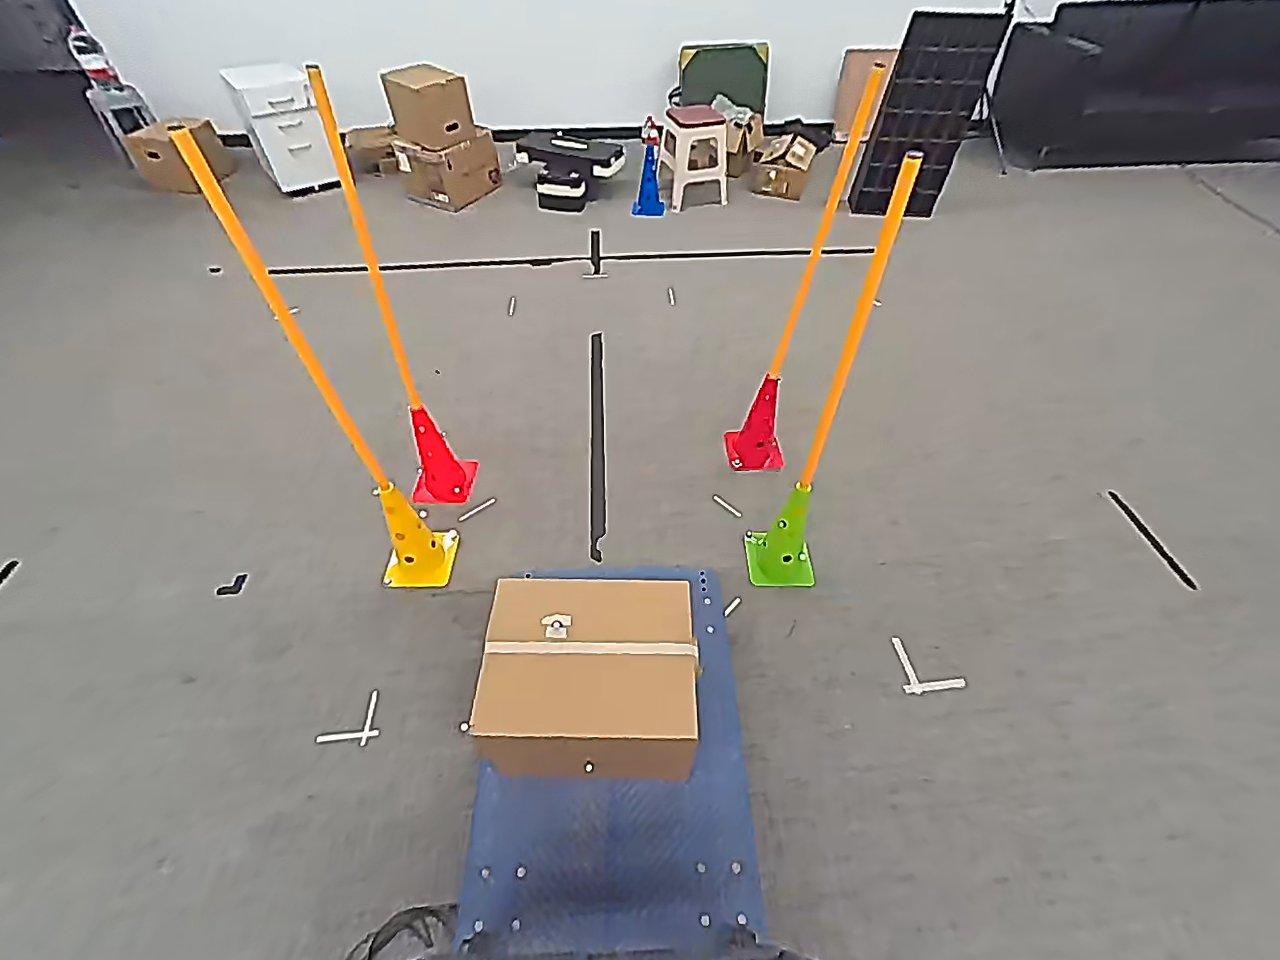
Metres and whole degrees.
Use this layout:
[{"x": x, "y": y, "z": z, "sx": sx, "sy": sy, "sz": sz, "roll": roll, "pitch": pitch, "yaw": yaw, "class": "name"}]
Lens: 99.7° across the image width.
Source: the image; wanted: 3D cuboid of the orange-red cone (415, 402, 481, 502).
[{"x": -0.684, "y": -0.116, "z": 1.816, "sx": 0.198, "sy": 0.360, "sz": 0.199, "roll": 4, "pitch": 48, "yaw": 2, "class": "orange-red cone"}]

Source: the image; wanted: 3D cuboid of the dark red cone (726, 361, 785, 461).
[{"x": 0.438, "y": -0.248, "z": 1.909, "sx": 0.201, "sy": 0.394, "sz": 0.202, "roll": -1, "pitch": 50, "yaw": -4, "class": "dark red cone"}]

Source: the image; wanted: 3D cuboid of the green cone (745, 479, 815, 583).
[{"x": 0.449, "y": 0.131, "z": 1.606, "sx": 0.202, "sy": 0.368, "sz": 0.200, "roll": 1, "pitch": 49, "yaw": -1, "class": "green cone"}]

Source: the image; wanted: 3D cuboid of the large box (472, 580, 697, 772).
[{"x": -0.095, "y": 0.425, "z": 1.158, "sx": 0.408, "sy": 0.320, "sz": 0.320, "roll": 0, "pitch": 49, "yaw": 1, "class": "large box"}]
